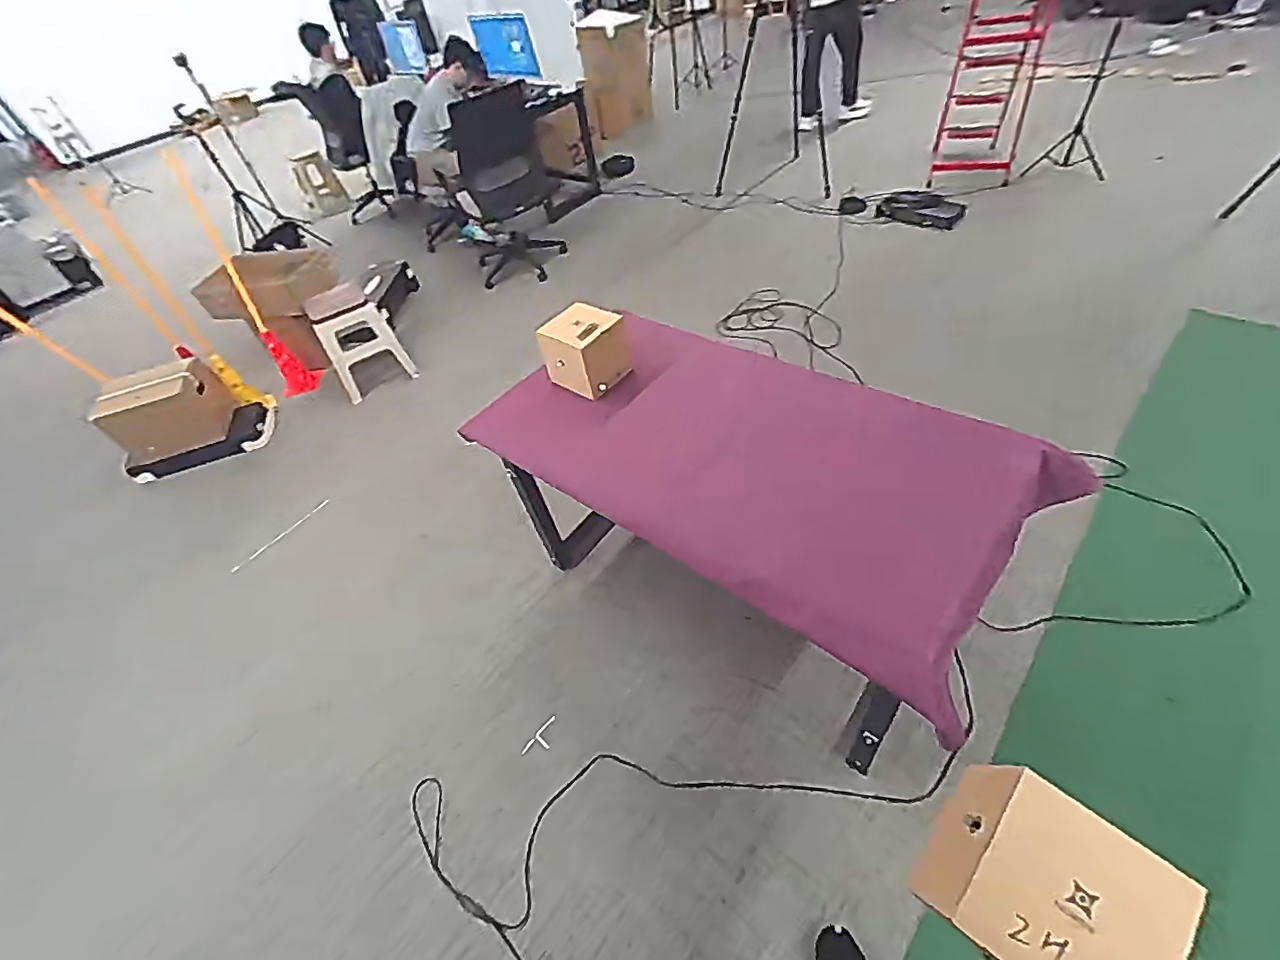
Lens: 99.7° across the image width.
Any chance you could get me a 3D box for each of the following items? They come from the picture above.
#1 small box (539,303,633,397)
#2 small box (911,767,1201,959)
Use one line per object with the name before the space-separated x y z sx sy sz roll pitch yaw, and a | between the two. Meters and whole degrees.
small box | -0.139 -0.349 1.465 0.179 0.176 0.168 28 58 33
small box | 0.425 0.440 0.586 0.168 0.176 0.179 33 74 24
